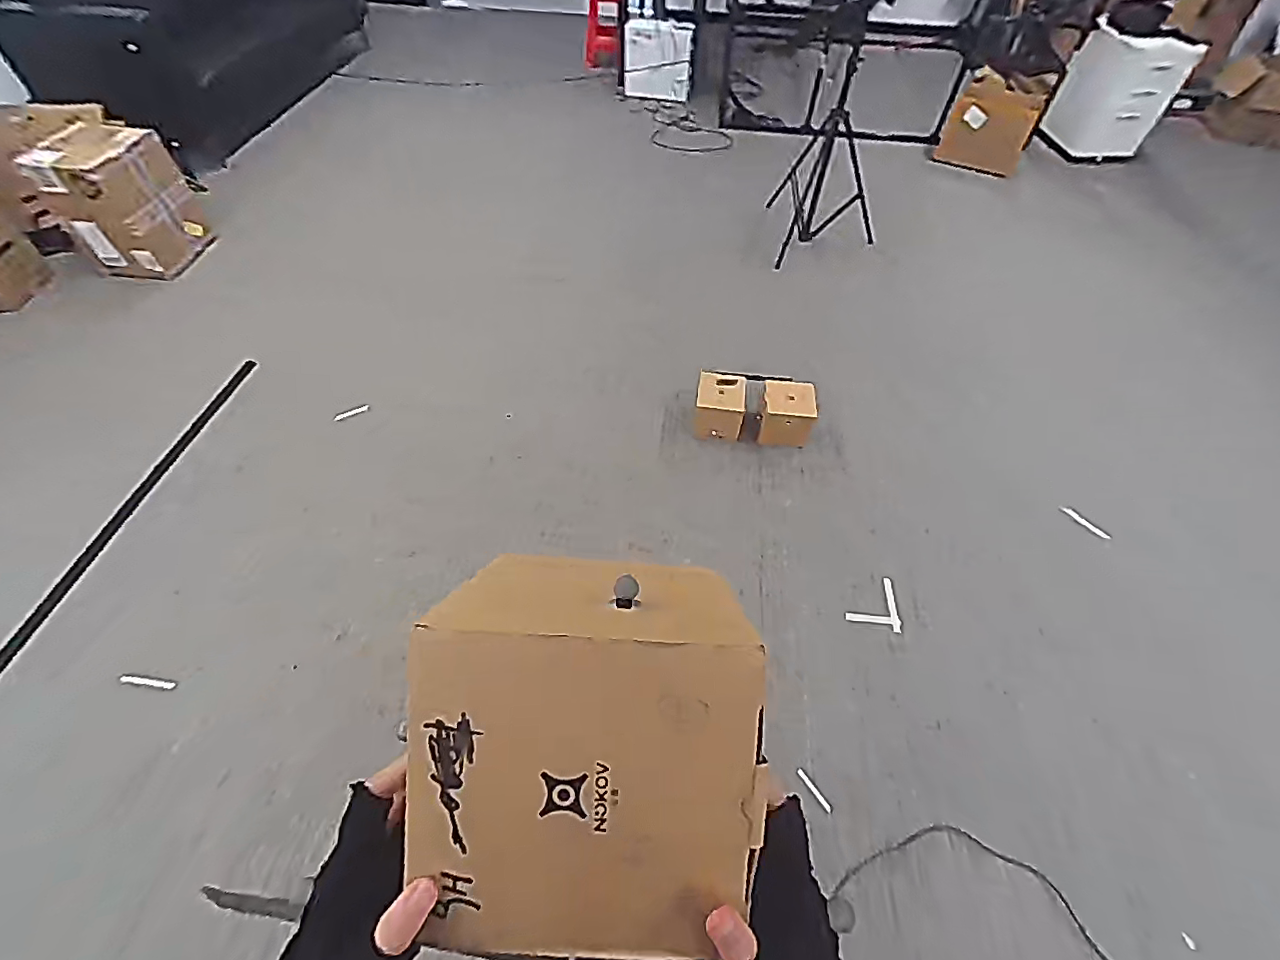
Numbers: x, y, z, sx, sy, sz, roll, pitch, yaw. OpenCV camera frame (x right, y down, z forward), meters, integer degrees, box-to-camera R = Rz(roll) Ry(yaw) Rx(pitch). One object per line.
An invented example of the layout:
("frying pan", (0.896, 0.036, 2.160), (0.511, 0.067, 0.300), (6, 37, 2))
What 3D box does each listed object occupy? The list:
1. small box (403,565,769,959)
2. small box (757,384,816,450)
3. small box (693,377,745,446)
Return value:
("small box", (-0.029, 0.154, 0.349), (0.179, 0.176, 0.168), (4, 92, -1))
("small box", (0.523, -0.225, 1.962), (0.179, 0.176, 0.168), (6, 55, 2))
("small box", (0.286, -0.249, 1.973), (0.168, 0.176, 0.179), (7, 54, 5))
